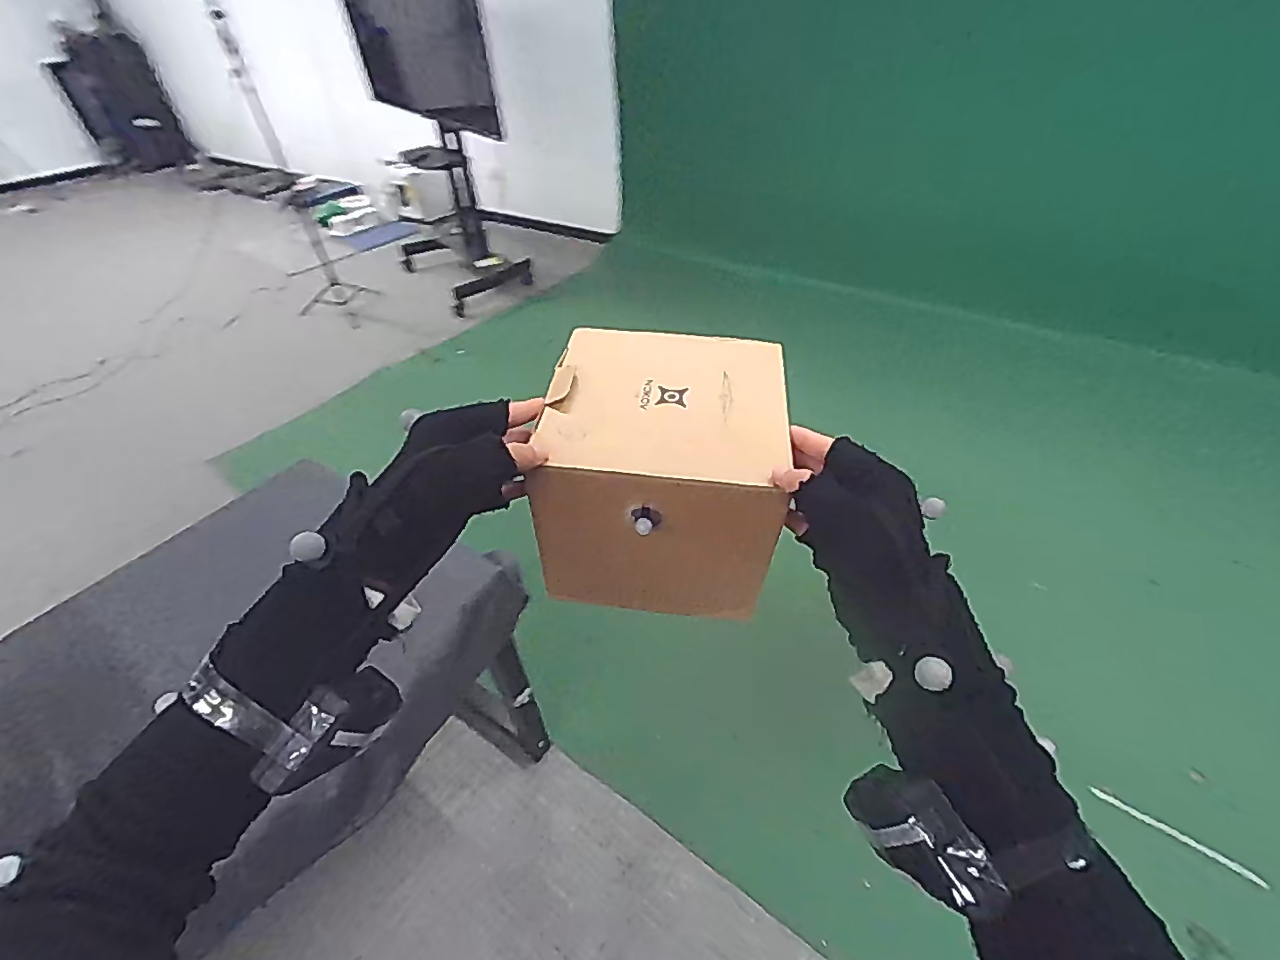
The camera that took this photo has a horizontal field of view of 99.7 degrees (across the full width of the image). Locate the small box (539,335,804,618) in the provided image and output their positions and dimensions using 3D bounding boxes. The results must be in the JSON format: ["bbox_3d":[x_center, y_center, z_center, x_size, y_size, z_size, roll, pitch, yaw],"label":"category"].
[{"bbox_3d":[0.028,-0.001,0.459,0.179,0.176,0.168,7,47,4],"label":"small box"}]
